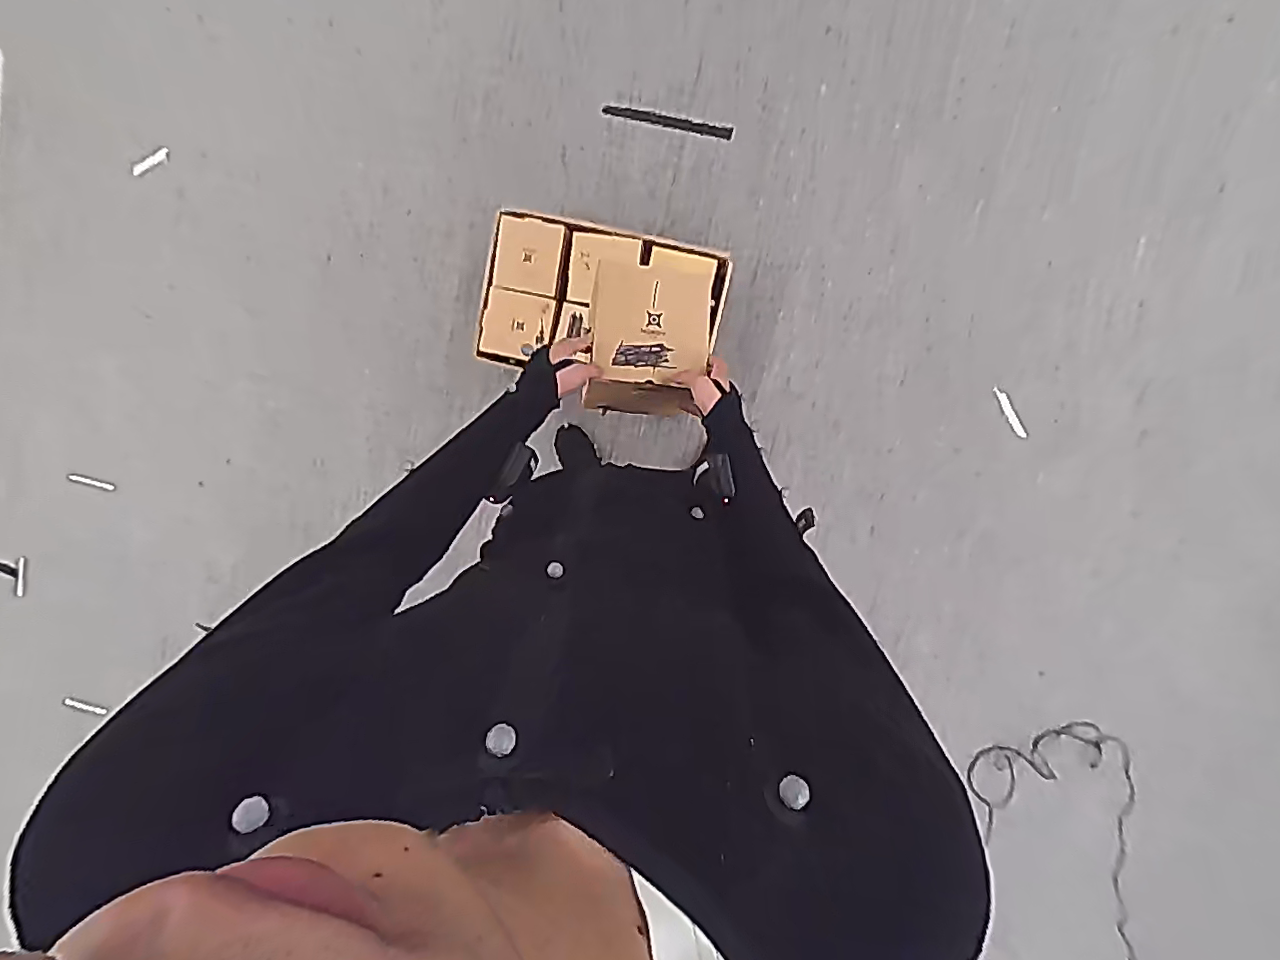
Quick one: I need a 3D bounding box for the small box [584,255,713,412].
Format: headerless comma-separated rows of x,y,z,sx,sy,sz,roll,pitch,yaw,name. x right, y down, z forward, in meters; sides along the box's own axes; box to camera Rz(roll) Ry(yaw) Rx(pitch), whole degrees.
0.005,-0.209,0.823,0.168,0.176,0.179,5,83,-9,small box
